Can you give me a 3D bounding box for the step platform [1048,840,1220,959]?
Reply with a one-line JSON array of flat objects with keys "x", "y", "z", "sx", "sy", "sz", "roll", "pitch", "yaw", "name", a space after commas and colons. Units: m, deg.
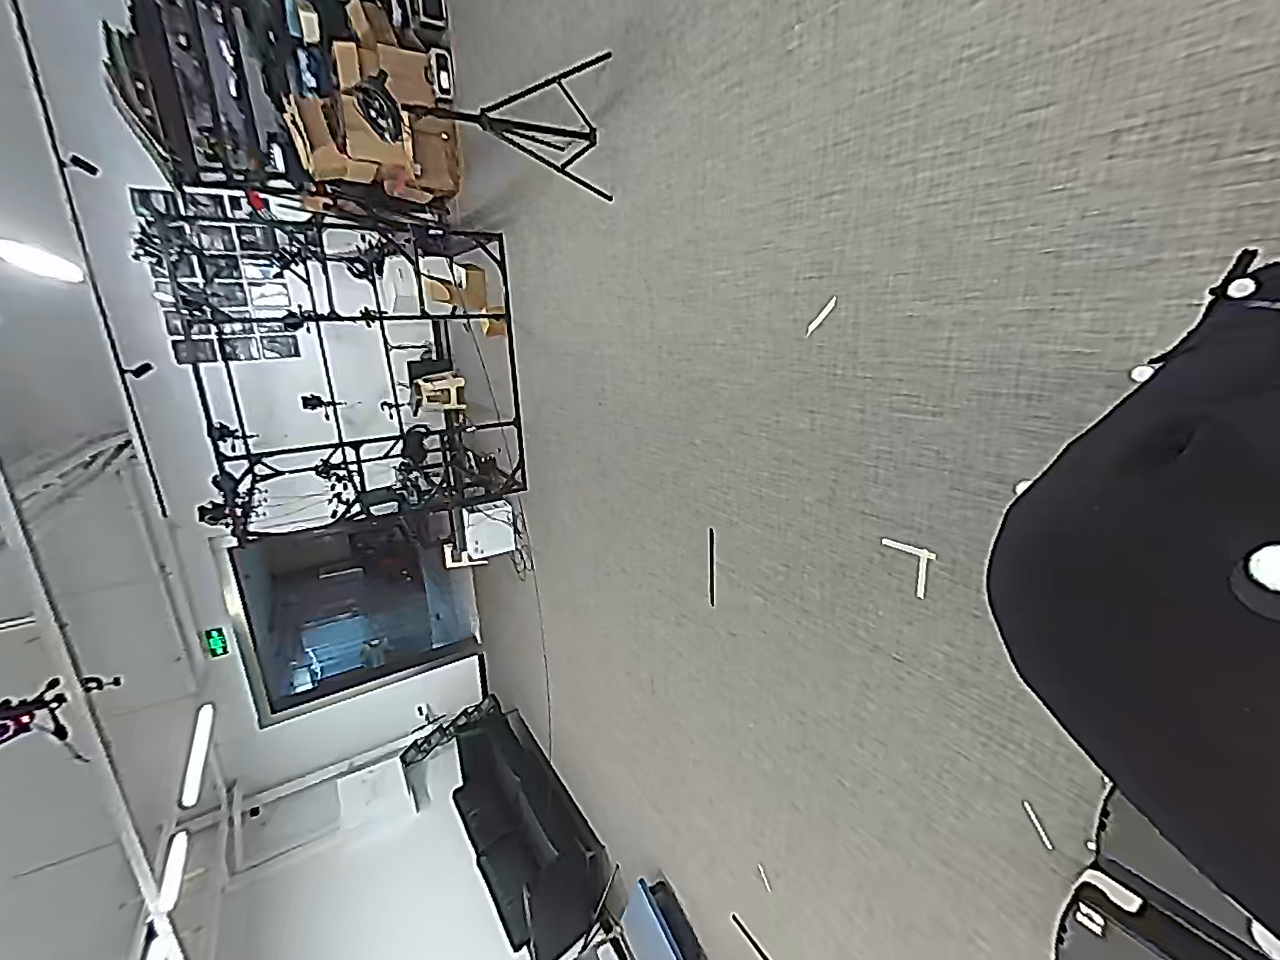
[{"x": 1.246, "y": 1.112, "z": 1.085, "sx": 0.684, "sy": 0.204, "sz": 0.286, "roll": 23, "pitch": 120, "yaw": 57, "name": "step platform"}]
